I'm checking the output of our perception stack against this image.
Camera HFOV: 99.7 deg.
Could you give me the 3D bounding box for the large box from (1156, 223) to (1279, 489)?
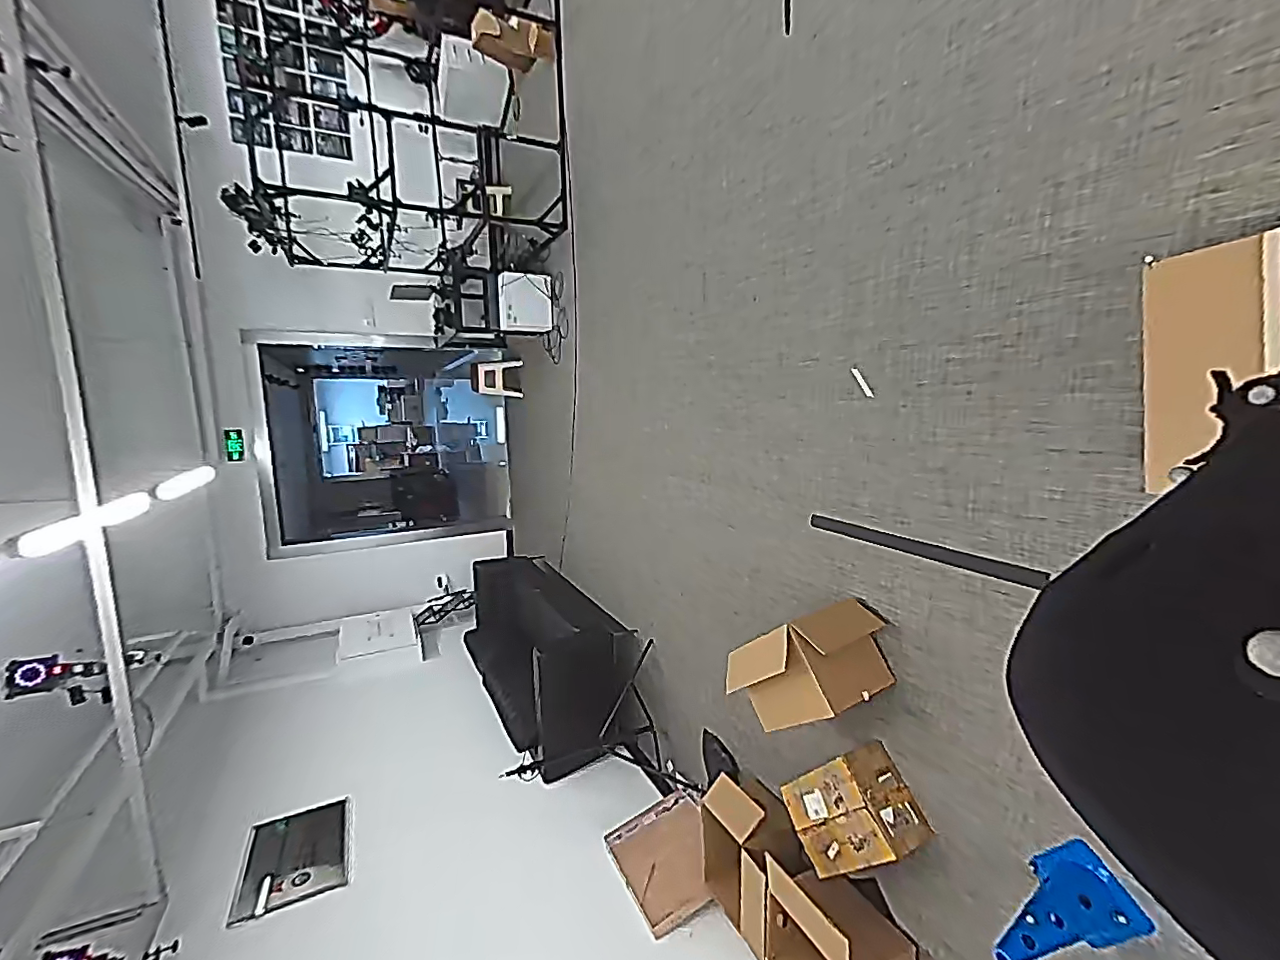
[{"bbox_3d":[1.101,-0.192,0.863,0.320,0.320,0.408,3,96,64],"label":"large box"}]
